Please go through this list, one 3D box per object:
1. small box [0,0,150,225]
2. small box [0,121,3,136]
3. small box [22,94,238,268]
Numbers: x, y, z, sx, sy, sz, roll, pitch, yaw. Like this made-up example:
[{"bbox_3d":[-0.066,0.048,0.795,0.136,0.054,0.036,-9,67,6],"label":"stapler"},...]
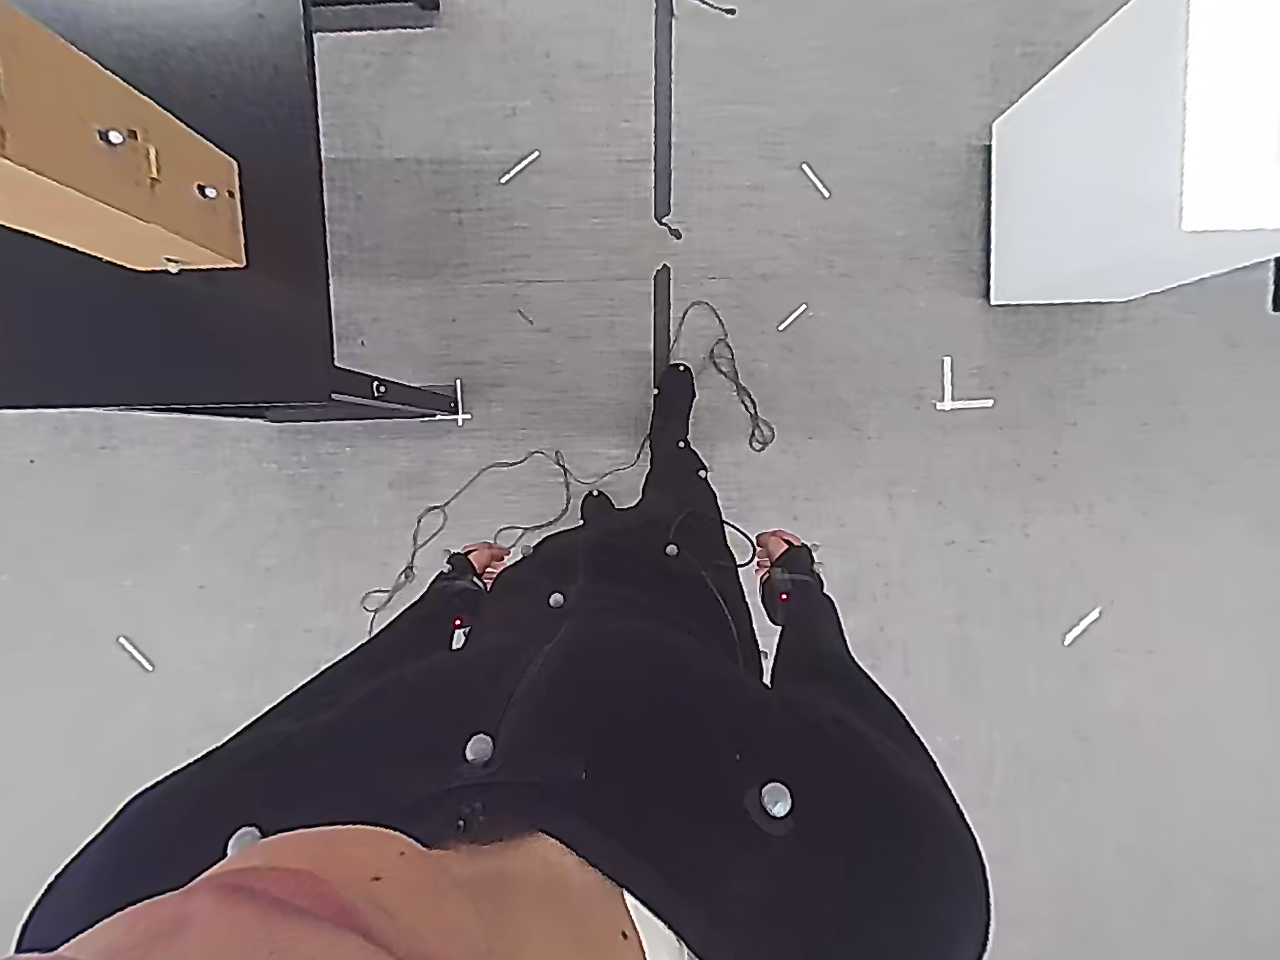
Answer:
[{"bbox_3d":[-0.712,-0.401,0.605,0.179,0.176,0.168,-2,95,-1],"label":"small box"},{"bbox_3d":[-0.709,-0.391,0.443,0.179,0.176,0.168,-2,95,-1],"label":"small box"},{"bbox_3d":[-0.712,-0.412,0.770,0.179,0.176,0.168,-3,94,-1],"label":"small box"}]
